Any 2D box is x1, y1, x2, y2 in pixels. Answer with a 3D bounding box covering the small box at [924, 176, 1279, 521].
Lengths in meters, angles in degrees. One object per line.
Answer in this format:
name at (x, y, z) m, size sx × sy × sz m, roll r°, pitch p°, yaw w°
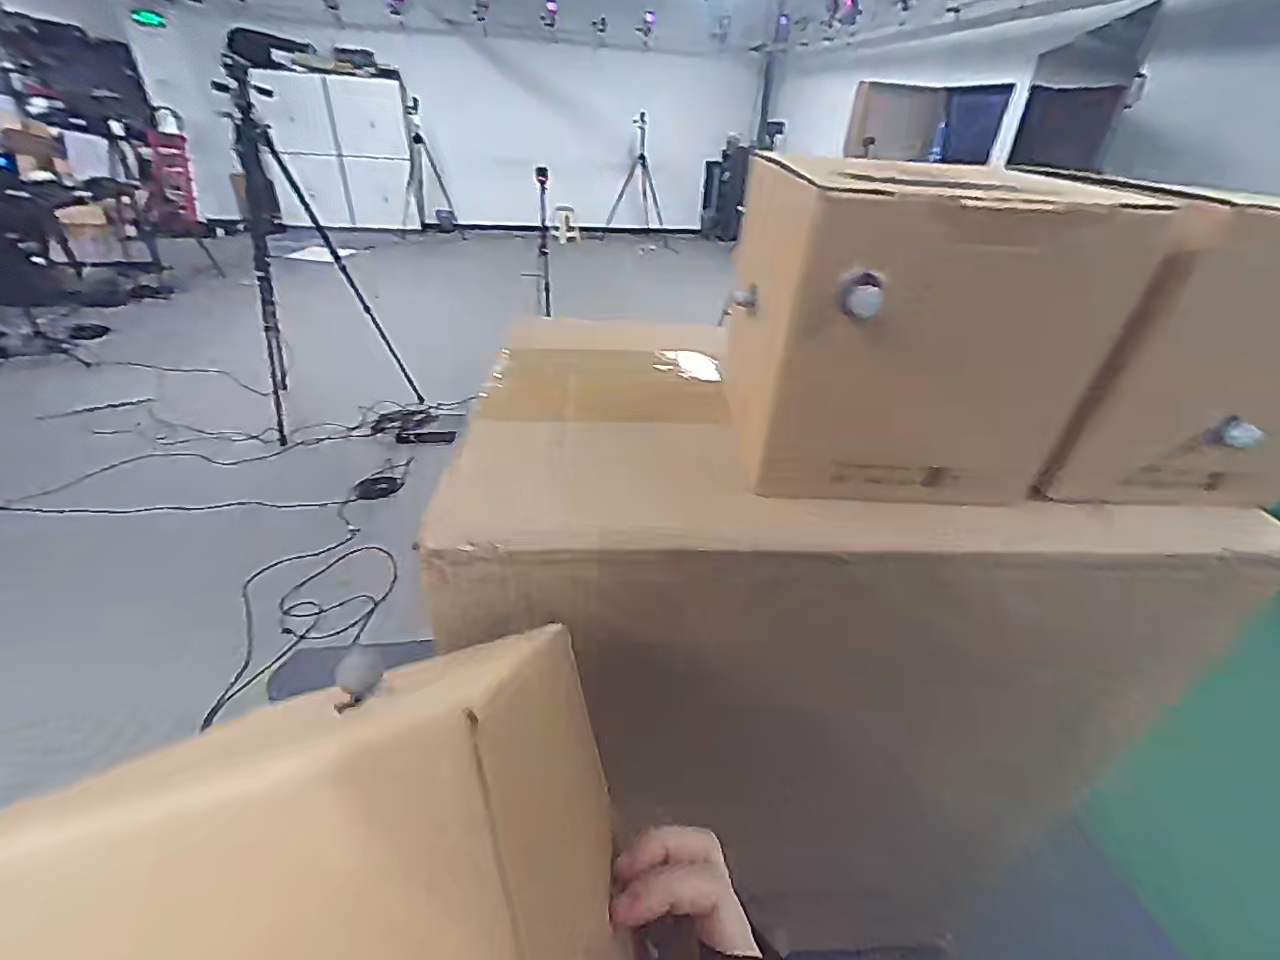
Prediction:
small box at (0.332, -0.093, 0.366) m, size 0.168 × 0.176 × 0.179 m, roll 2°, pitch 36°, yaw -7°
